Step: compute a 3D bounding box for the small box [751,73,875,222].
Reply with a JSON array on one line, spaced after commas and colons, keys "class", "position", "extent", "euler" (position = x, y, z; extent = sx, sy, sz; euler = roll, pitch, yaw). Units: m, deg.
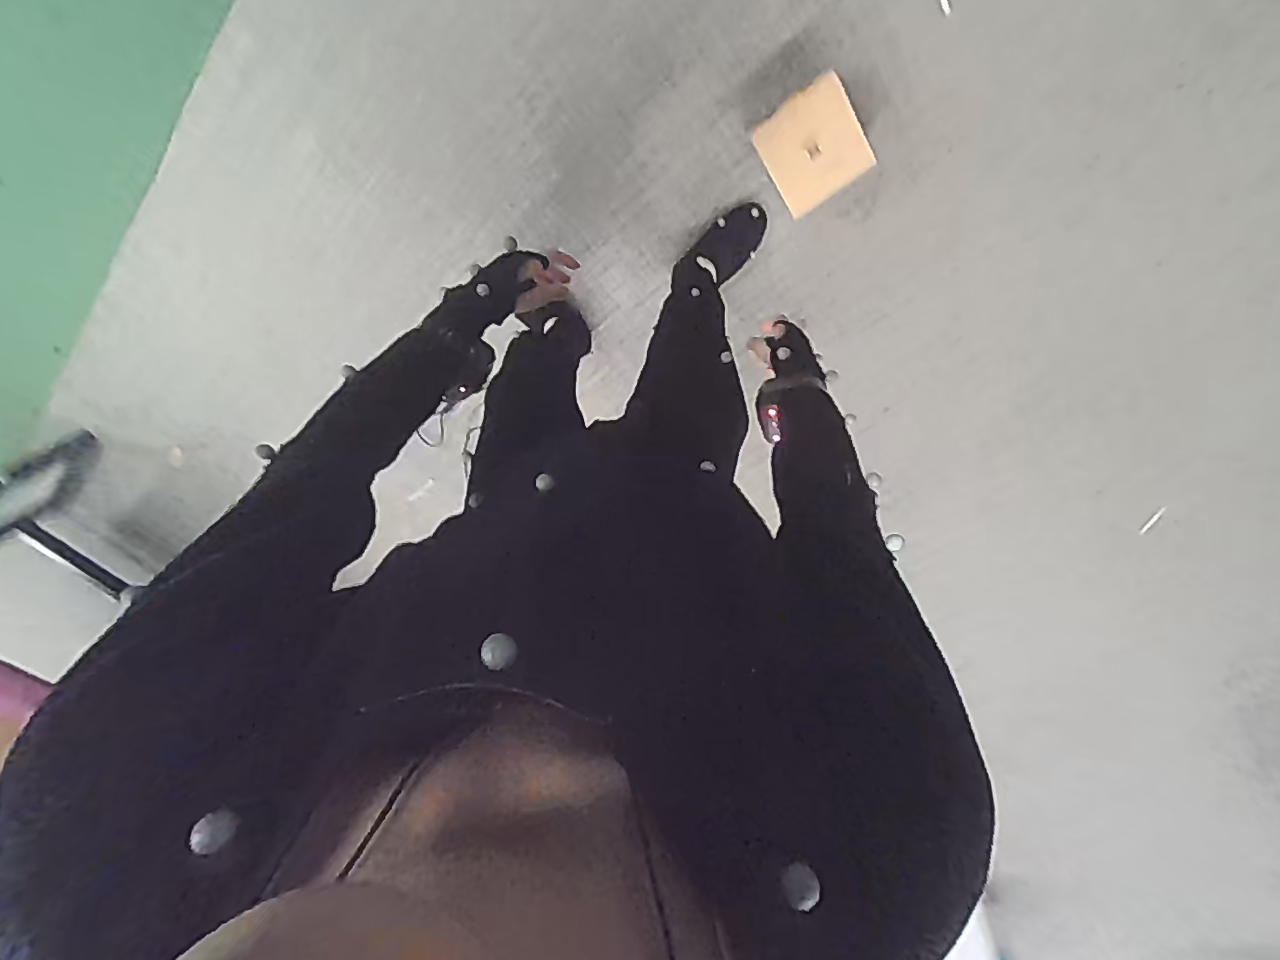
[{"class": "small box", "position": [0.324, -0.634, 1.041], "extent": [0.168, 0.176, 0.179], "euler": [-27, 116, 25]}]
